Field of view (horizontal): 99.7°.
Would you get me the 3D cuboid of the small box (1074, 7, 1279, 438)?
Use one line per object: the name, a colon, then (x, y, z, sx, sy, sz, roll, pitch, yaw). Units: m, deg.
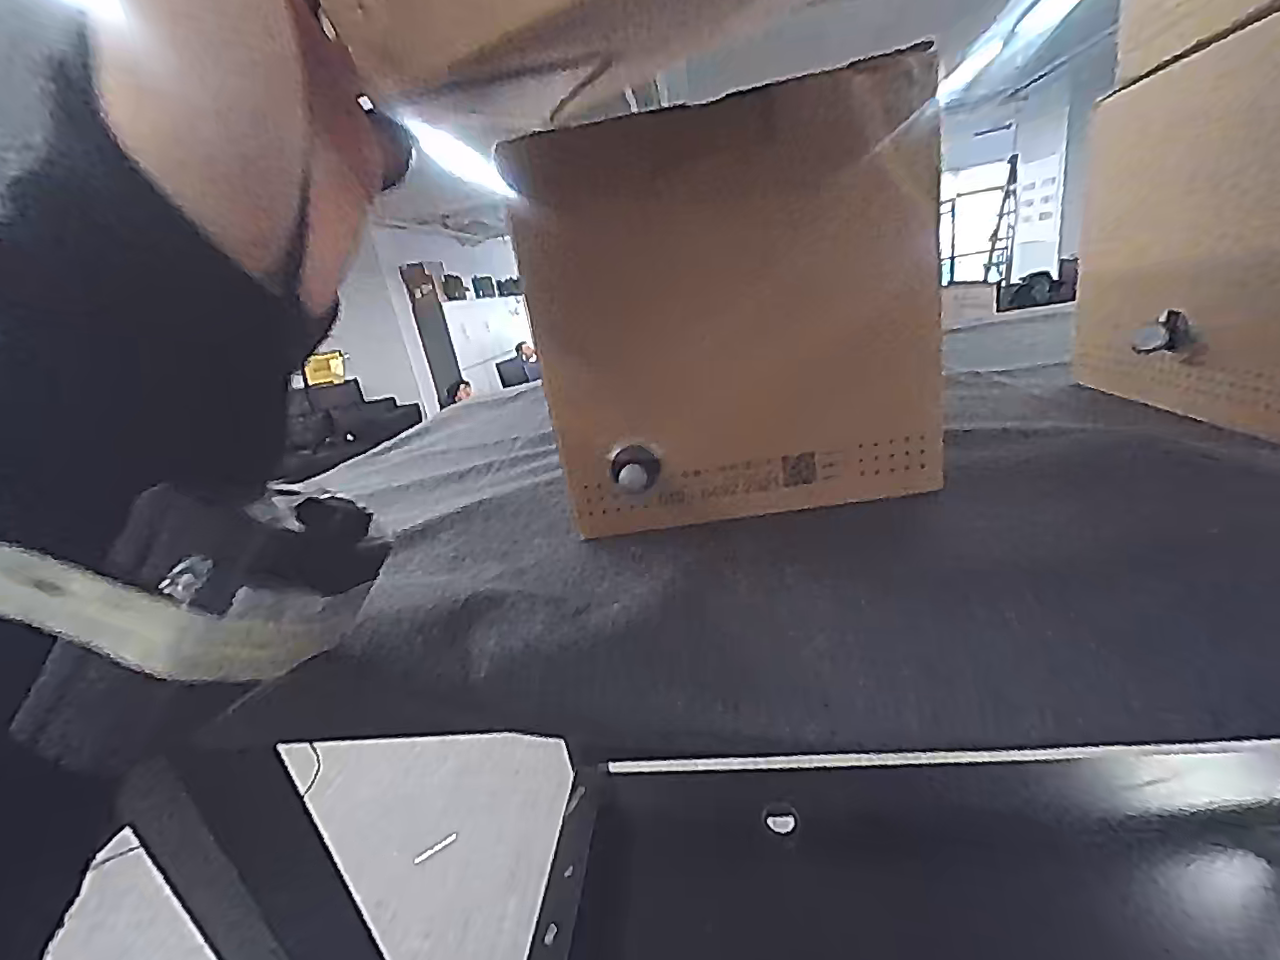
small box: (0.339, -0.120, 0.244, 0.168, 0.176, 0.179, -6, 19, 12)

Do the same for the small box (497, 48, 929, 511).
small box: (0.043, -0.088, 0.300, 0.168, 0.176, 0.179, -8, 17, 6)

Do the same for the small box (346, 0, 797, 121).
small box: (-0.007, -0.213, 0.133, 0.168, 0.176, 0.179, -15, 29, 15)
